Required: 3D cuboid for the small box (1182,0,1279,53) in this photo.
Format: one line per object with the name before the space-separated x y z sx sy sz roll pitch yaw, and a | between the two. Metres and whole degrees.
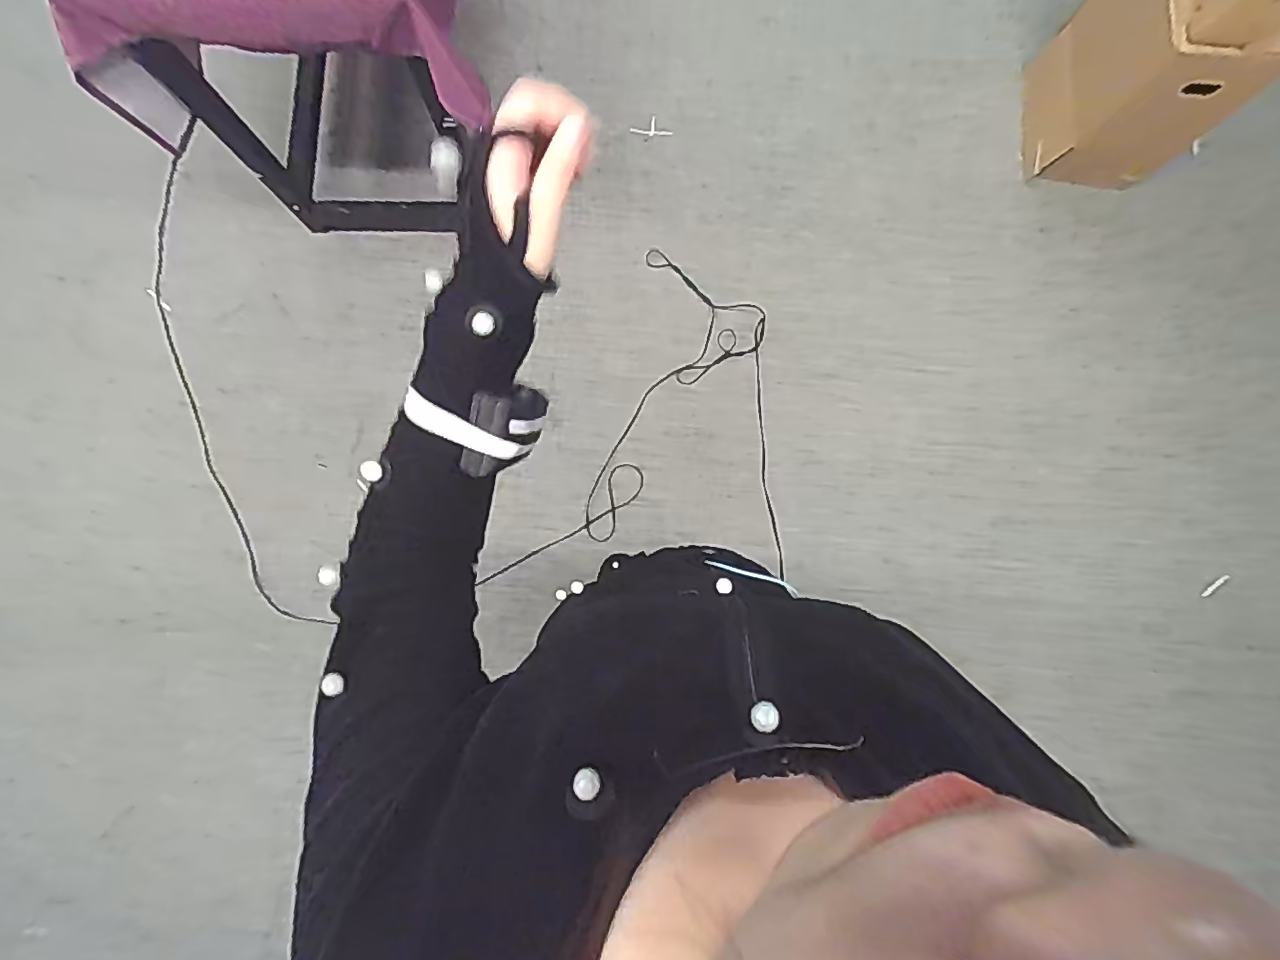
small box | 1.358 -1.087 1.186 0.179 0.176 0.168 5 81 -1
